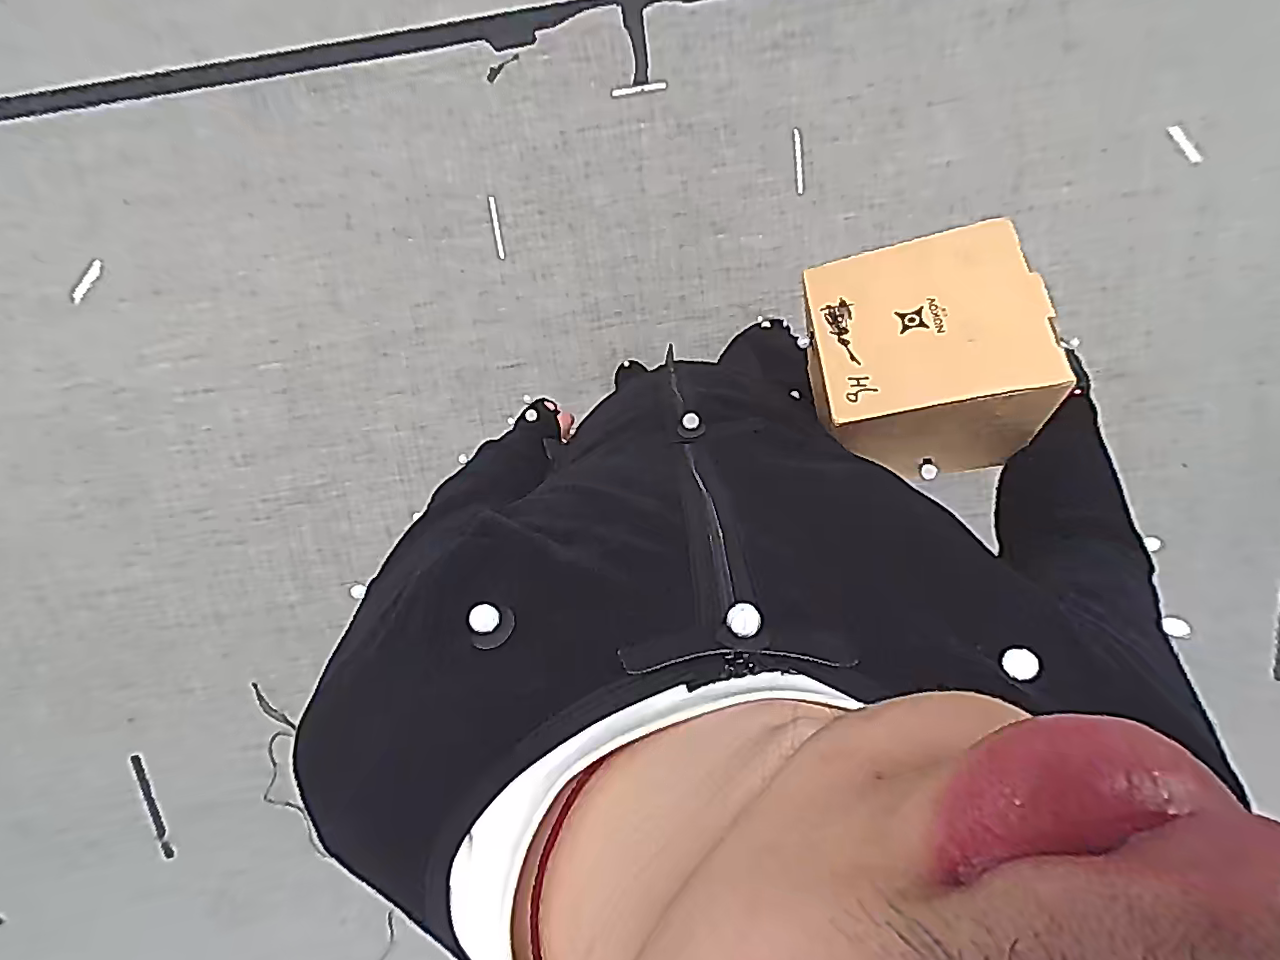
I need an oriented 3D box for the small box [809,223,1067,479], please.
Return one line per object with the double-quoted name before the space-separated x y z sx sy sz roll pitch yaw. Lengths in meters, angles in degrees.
"small box" 0.271 -0.112 0.541 0.179 0.176 0.168 -9 66 16
